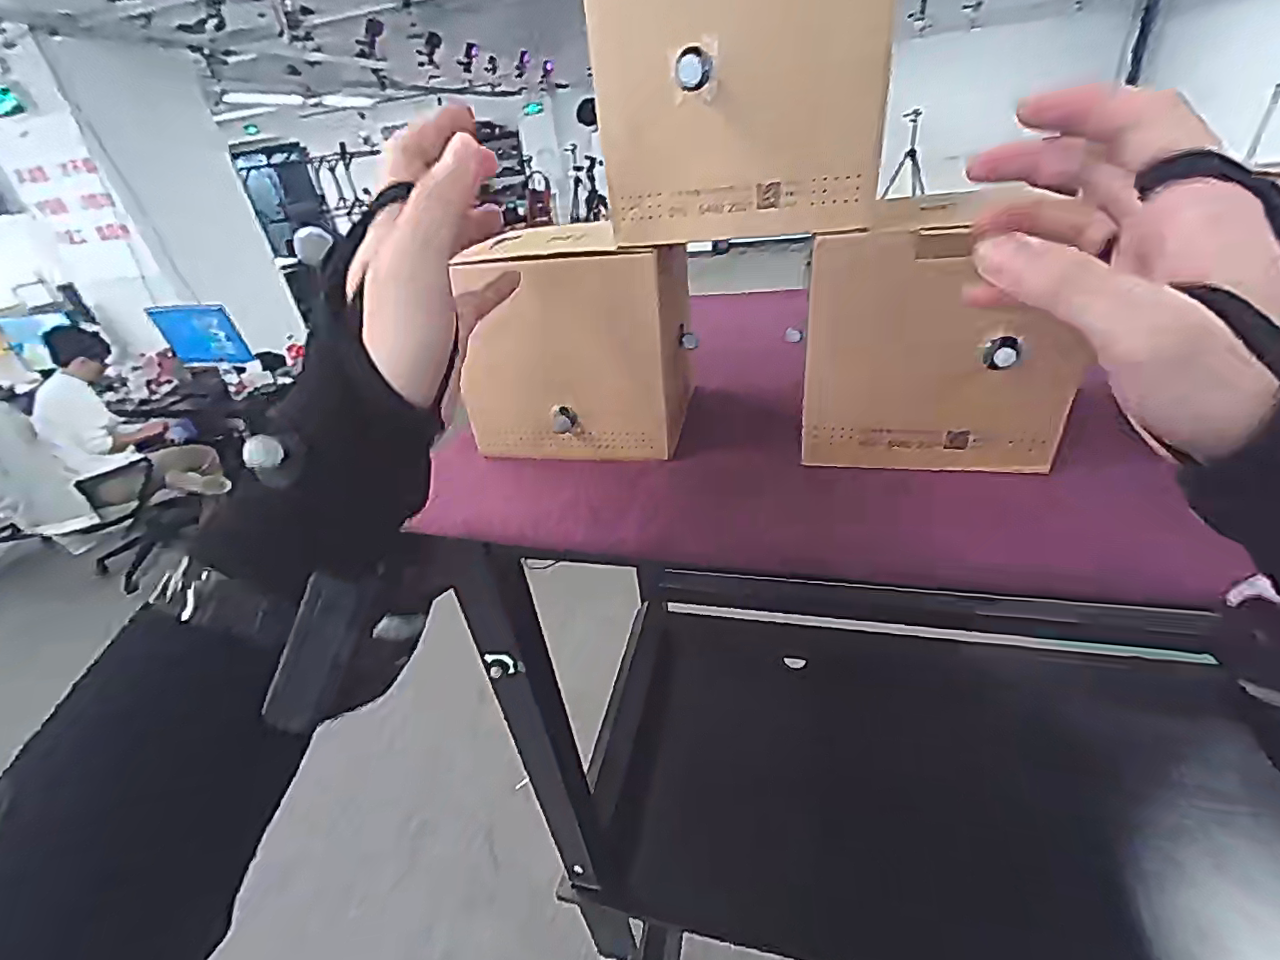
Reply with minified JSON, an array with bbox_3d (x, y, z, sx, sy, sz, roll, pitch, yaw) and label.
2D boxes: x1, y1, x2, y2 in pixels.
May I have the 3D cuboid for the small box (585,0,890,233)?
[{"bbox_3d":[0.073,-0.272,0.372,0.168,0.176,0.179,2,32,15],"label":"small box"}]

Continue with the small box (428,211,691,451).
[{"bbox_3d":[-0.050,-0.136,0.486,0.179,0.176,0.168,2,33,12],"label":"small box"}]
